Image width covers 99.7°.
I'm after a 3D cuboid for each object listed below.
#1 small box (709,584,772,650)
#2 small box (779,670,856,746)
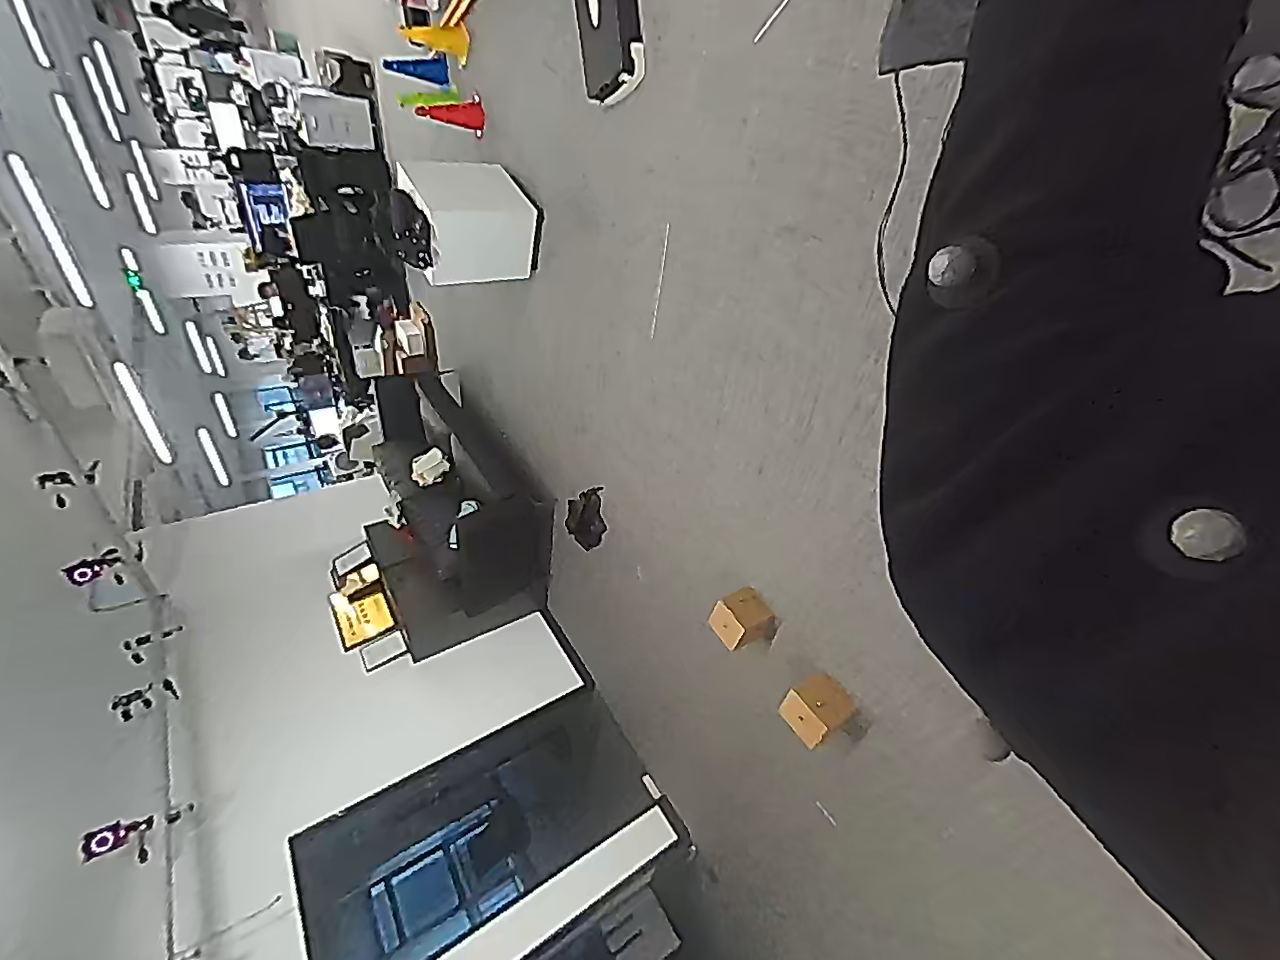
[{"bbox_3d":[0.414,0.558,2.222,0.168,0.176,0.179,51,144,34],"label":"small box"},{"bbox_3d":[0.650,0.825,1.979,0.179,0.176,0.168,46,140,36],"label":"small box"}]
